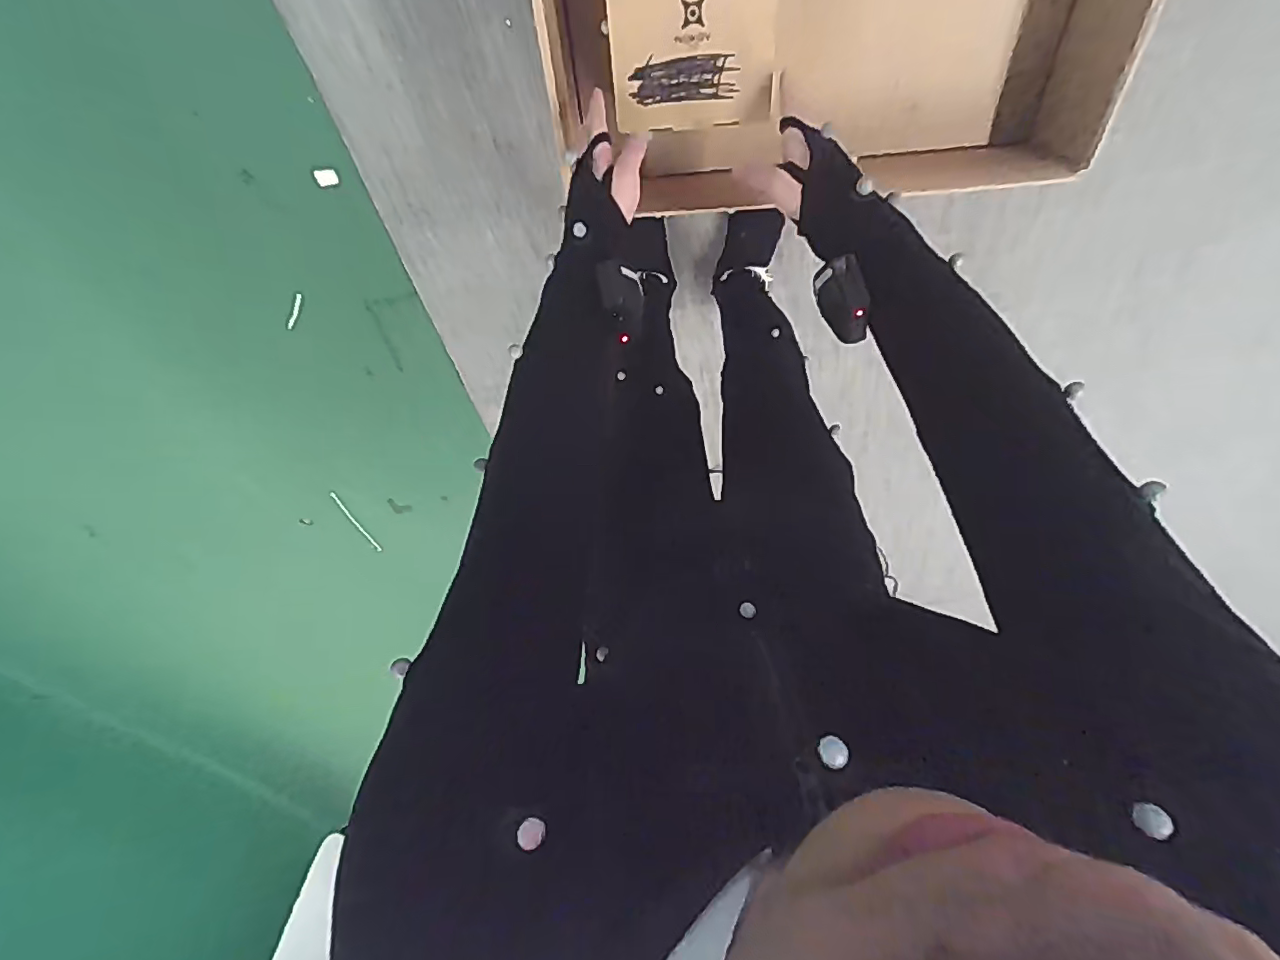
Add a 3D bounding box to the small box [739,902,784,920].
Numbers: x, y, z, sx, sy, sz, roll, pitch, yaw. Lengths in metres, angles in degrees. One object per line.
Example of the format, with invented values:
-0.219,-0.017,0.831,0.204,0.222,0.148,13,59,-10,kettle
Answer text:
0.477,1.614,2.137,0.168,0.176,0.179,-7,131,10,small box
